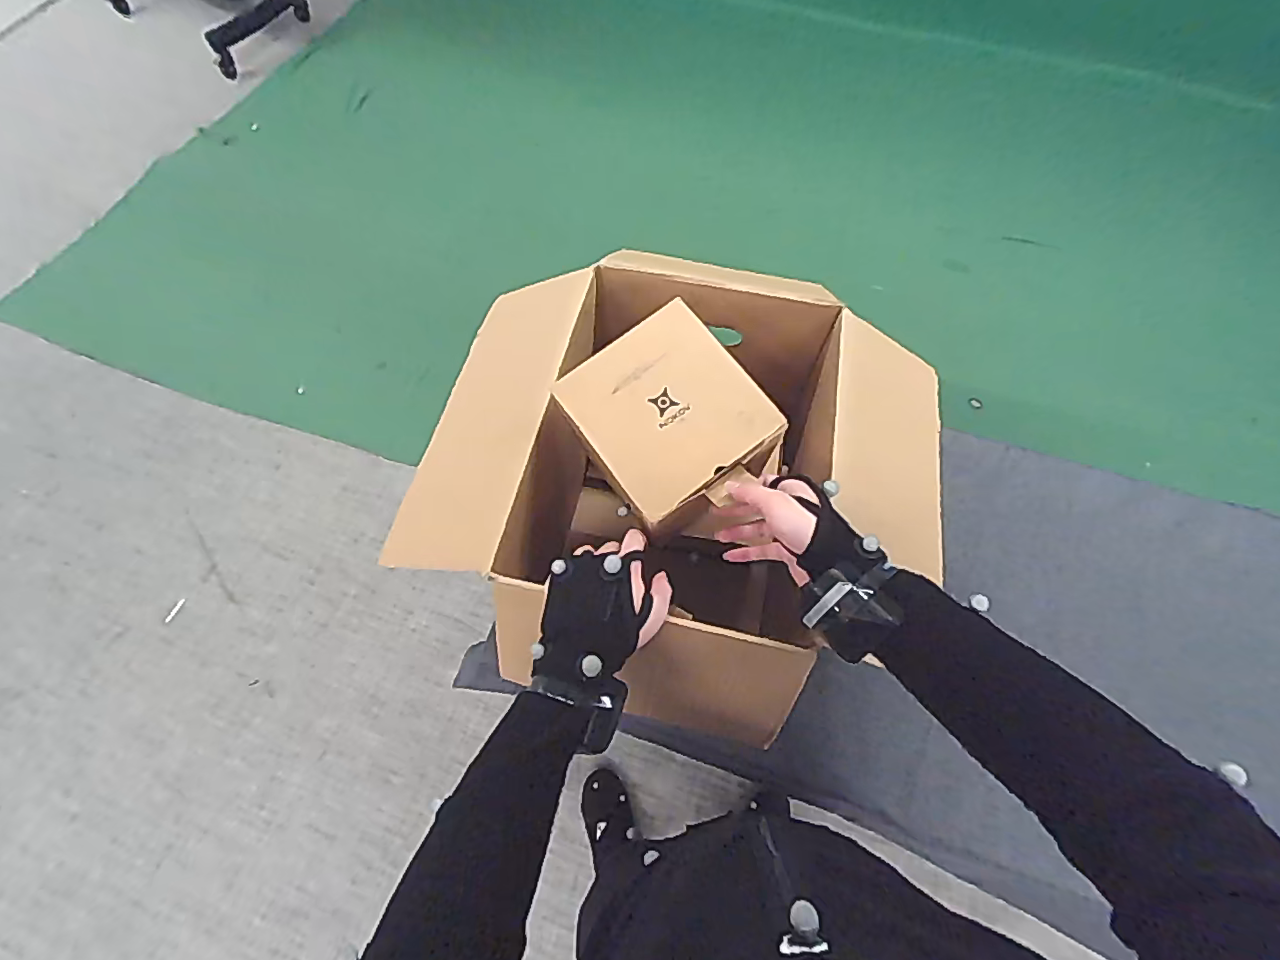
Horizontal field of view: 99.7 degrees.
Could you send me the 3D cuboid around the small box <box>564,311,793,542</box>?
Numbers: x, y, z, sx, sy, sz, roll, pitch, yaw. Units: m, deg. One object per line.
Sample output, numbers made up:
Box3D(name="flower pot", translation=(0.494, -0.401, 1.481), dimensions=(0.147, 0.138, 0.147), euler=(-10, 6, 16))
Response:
Box3D(name="small box", translation=(0.042, -0.045, 0.611), dimensions=(0.168, 0.176, 0.179), euler=(-35, 74, -6))
